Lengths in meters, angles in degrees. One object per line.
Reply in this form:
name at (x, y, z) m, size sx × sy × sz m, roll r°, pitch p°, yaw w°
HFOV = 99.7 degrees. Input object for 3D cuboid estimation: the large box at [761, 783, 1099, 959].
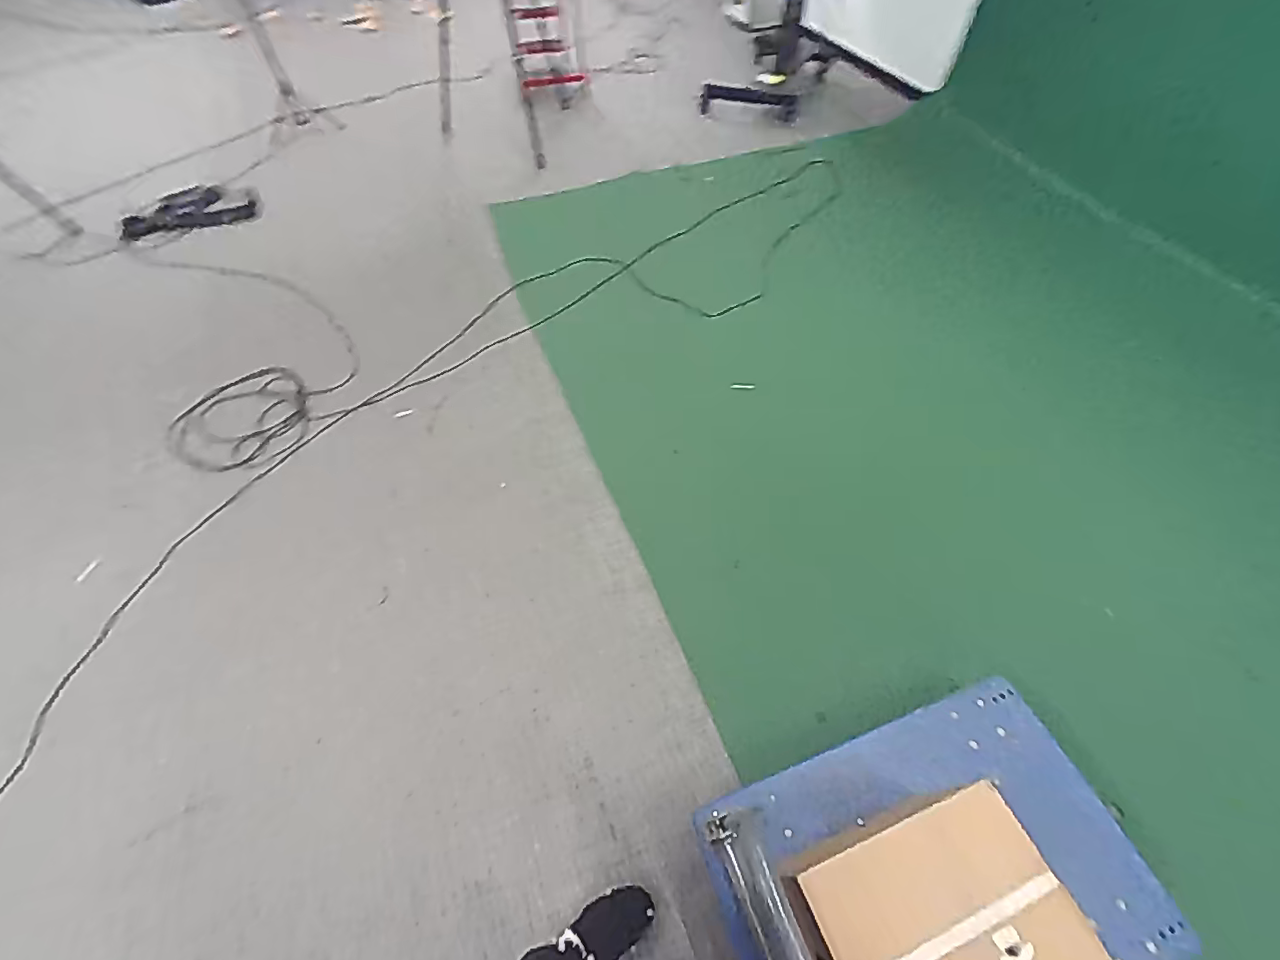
large box at (0.490, 0.810, 0.977) m, size 0.408 × 0.320 × 0.320 m, roll -17°, pitch 57°, yaw -12°
